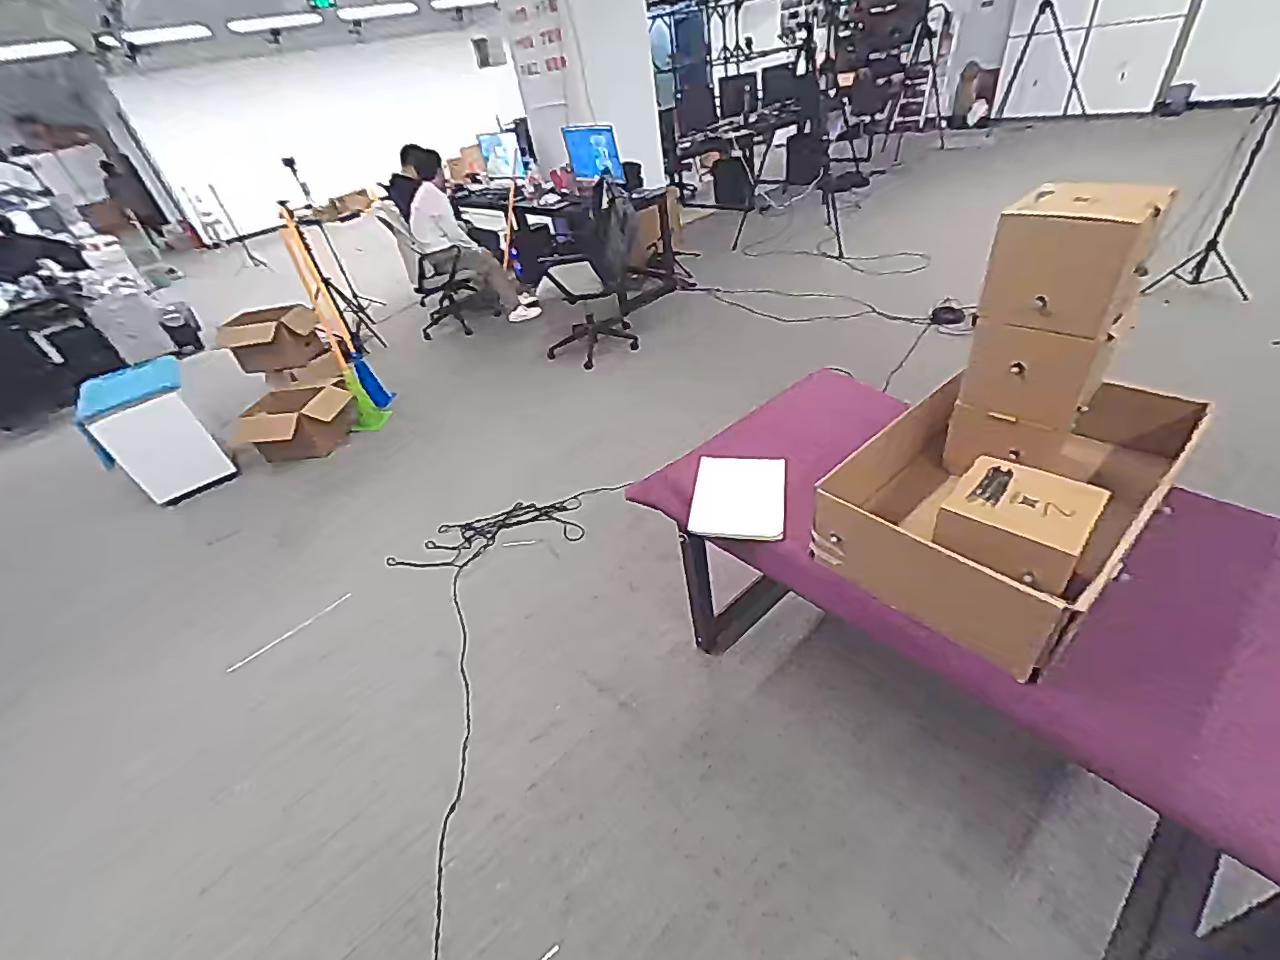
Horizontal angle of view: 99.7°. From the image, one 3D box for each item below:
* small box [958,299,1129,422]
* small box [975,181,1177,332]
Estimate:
[{"bbox_3d":[0.696,-0.222,0.948,0.168,0.176,0.179,-36,44,-27],"label":"small box"},{"bbox_3d":[0.670,-0.351,0.850,0.168,0.176,0.179,-34,44,-26],"label":"small box"}]
